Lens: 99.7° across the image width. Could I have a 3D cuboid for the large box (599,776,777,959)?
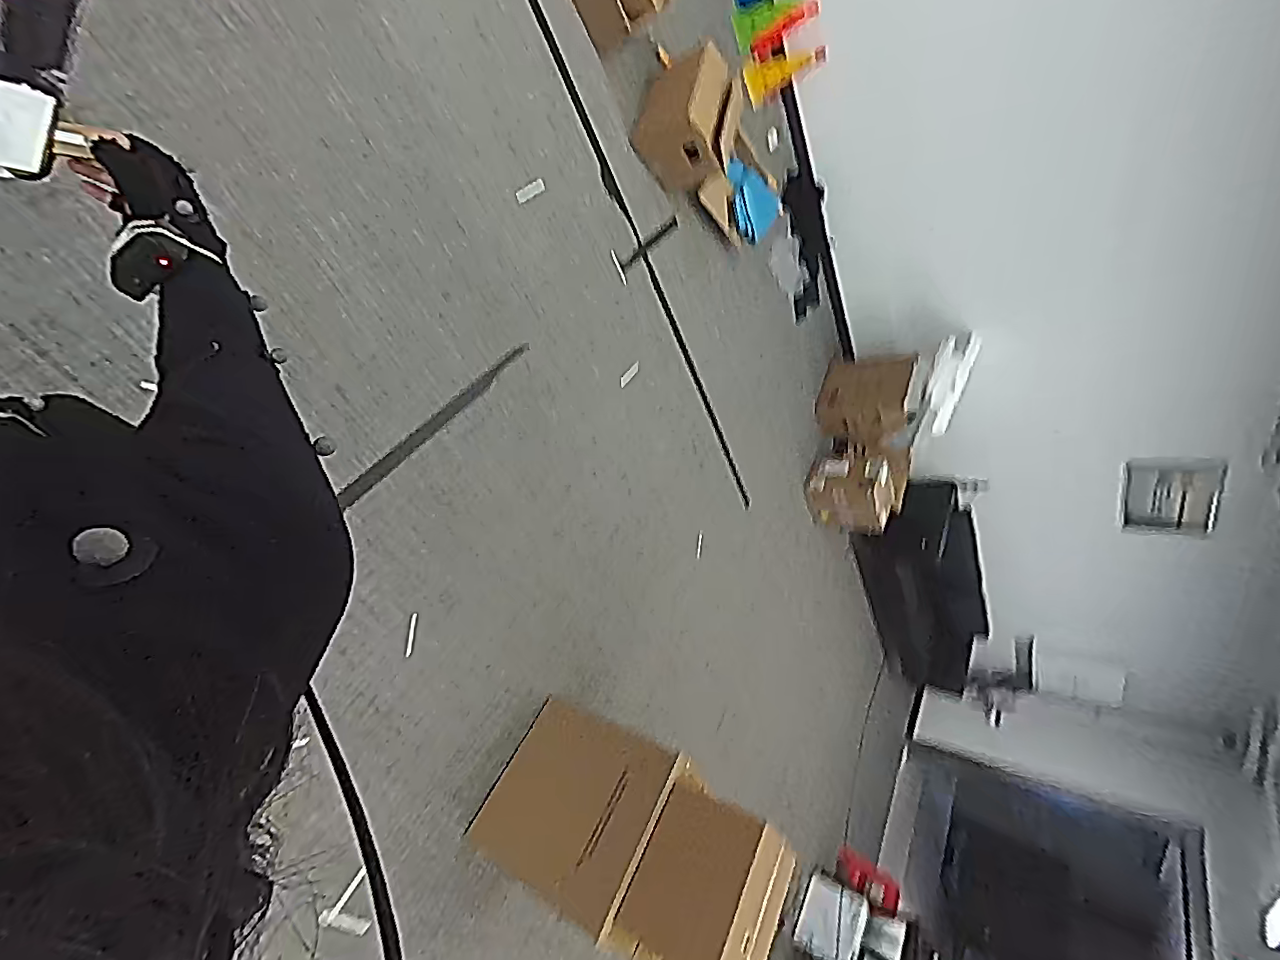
[{"bbox_3d":[0.152,1.161,1.560,0.408,0.320,0.320,-56,131,-32],"label":"large box"}]
